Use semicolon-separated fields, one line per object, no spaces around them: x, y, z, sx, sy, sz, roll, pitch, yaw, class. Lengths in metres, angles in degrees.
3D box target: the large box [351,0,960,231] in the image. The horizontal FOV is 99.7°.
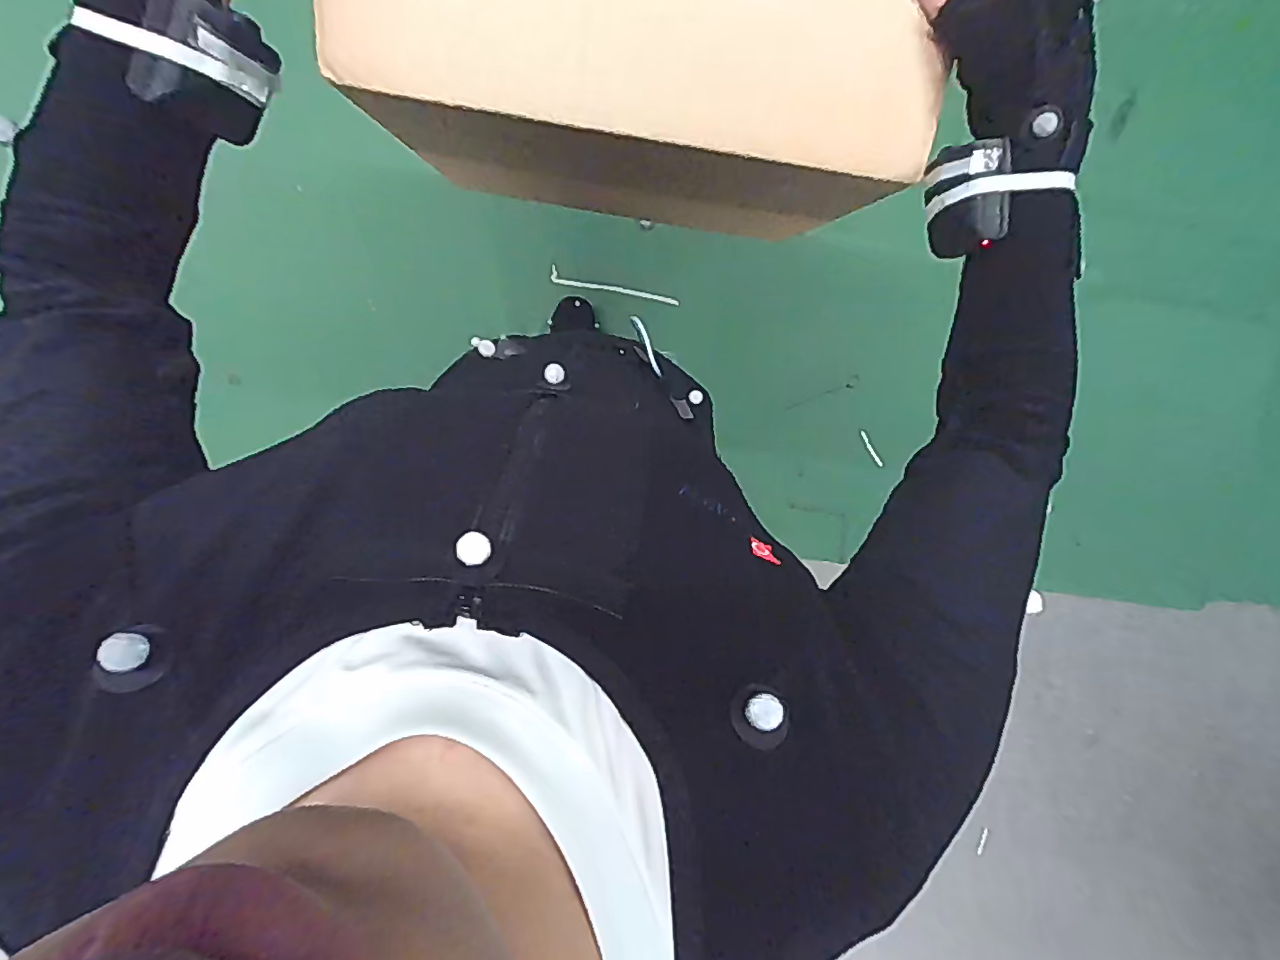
0.014;-0.431;0.473;0.408;0.320;0.320;6;107;-6;large box
